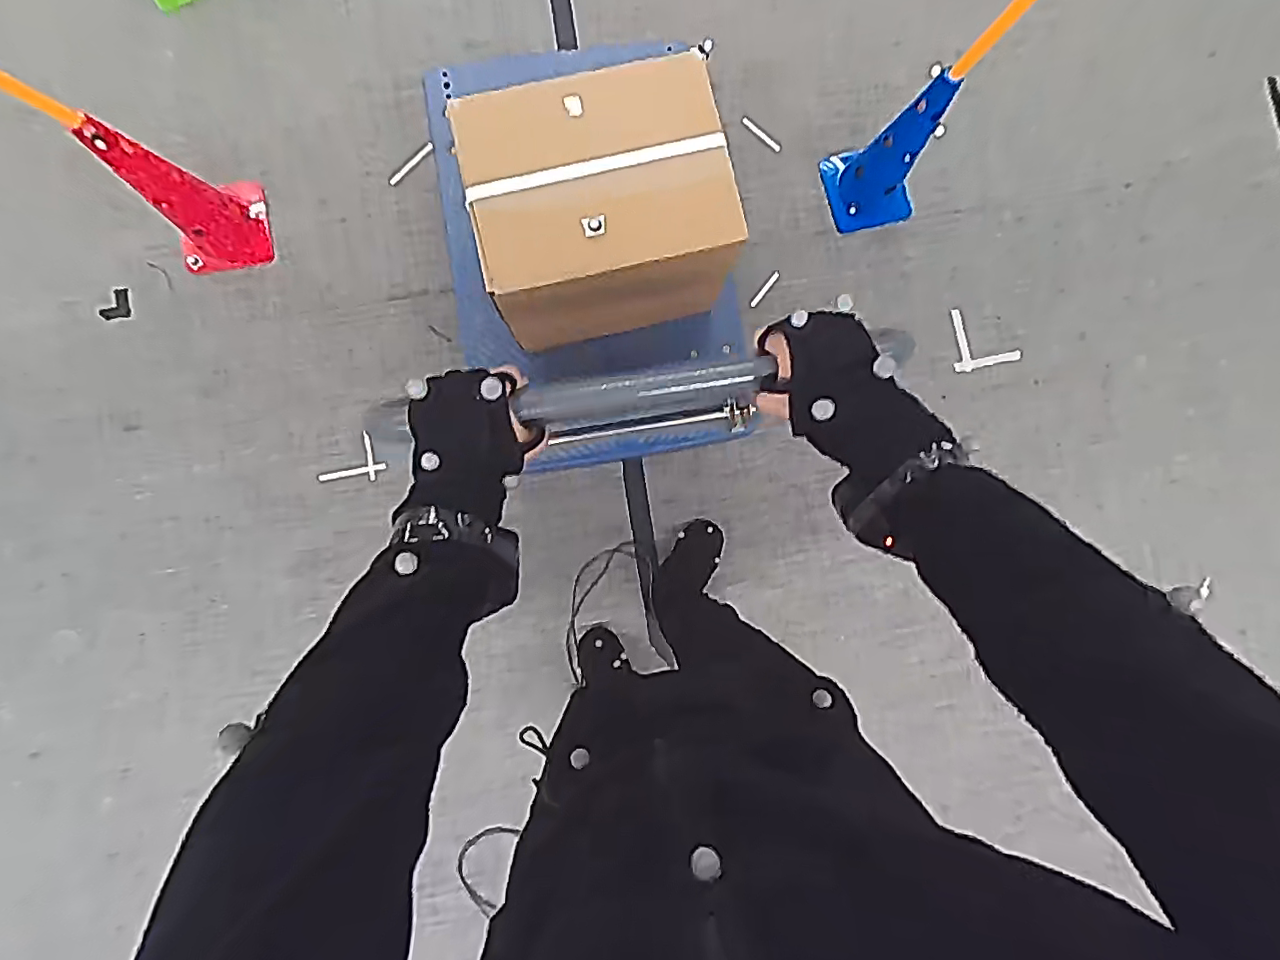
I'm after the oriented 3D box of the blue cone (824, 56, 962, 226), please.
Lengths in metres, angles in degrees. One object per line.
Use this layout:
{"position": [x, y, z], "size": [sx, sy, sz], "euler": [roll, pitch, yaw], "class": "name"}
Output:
{"position": [0.574, -0.744, 1.181], "size": [0.193, 0.380, 0.192], "euler": [-14, 86, -4], "class": "blue cone"}
